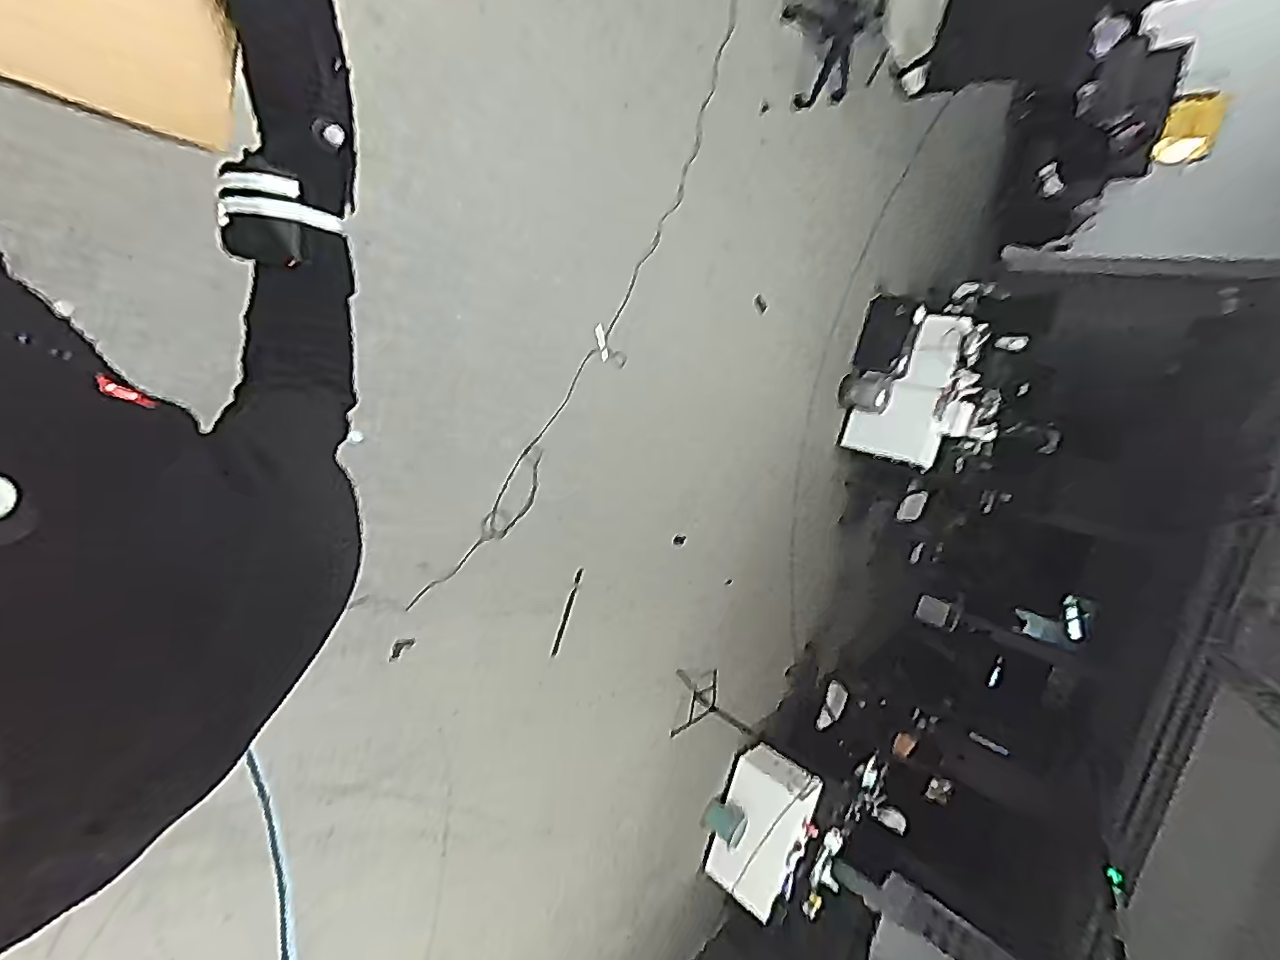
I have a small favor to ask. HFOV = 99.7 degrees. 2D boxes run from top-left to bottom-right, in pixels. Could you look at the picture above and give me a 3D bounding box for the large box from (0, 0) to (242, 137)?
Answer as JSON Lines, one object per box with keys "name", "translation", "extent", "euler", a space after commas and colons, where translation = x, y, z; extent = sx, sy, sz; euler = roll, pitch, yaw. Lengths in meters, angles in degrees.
{"name": "large box", "translation": [-0.487, -0.438, 0.288], "extent": [0.408, 0.320, 0.320], "euler": [-1, 116, -49]}
